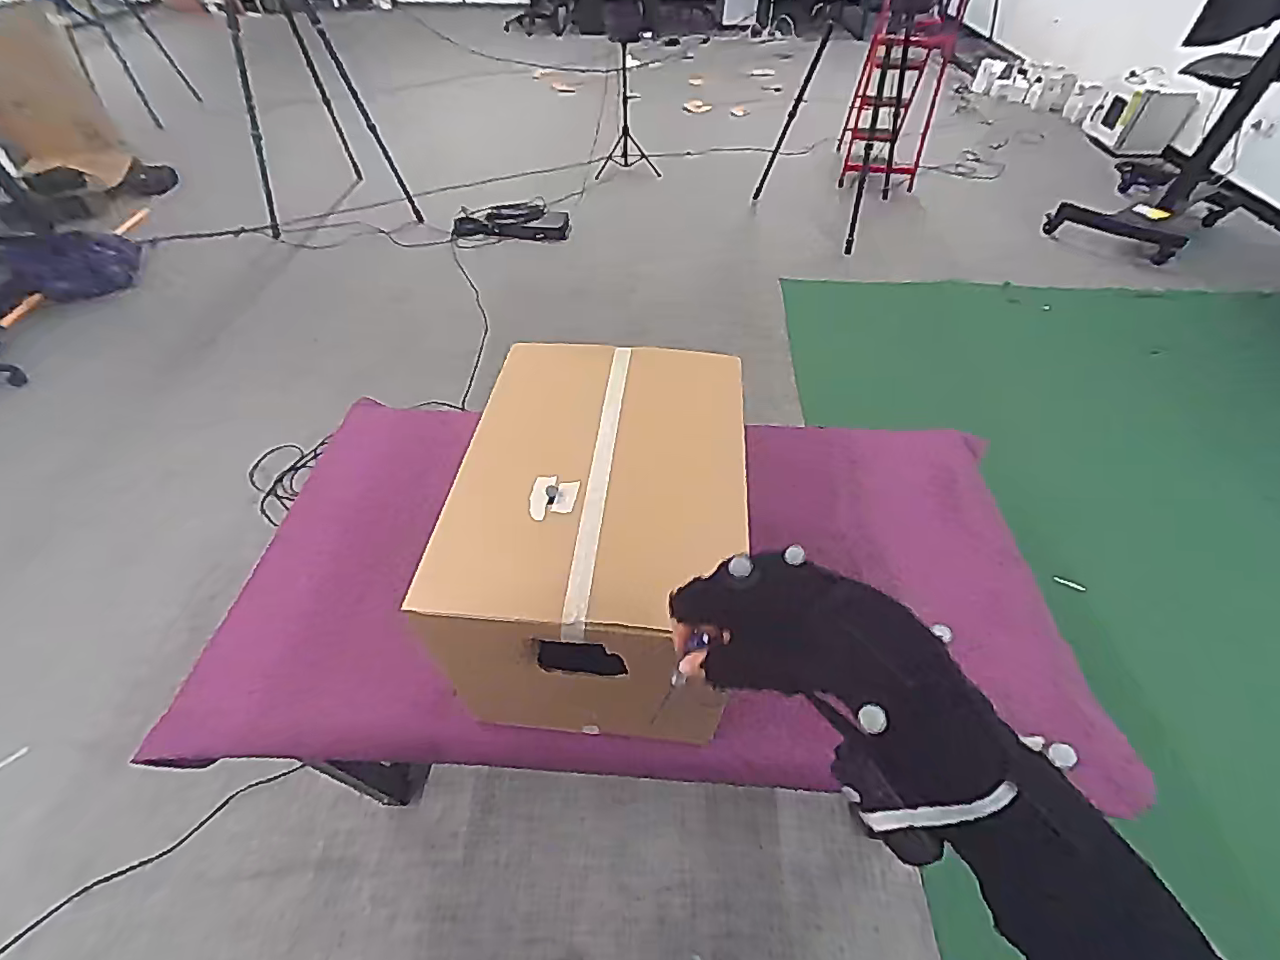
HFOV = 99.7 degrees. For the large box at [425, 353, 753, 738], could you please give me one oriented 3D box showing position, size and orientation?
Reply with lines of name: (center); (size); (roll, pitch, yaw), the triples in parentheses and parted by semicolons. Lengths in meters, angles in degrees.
large box: (-0.037, 0.082, 0.732); (0.320, 0.320, 0.408); (5, 50, 3)
